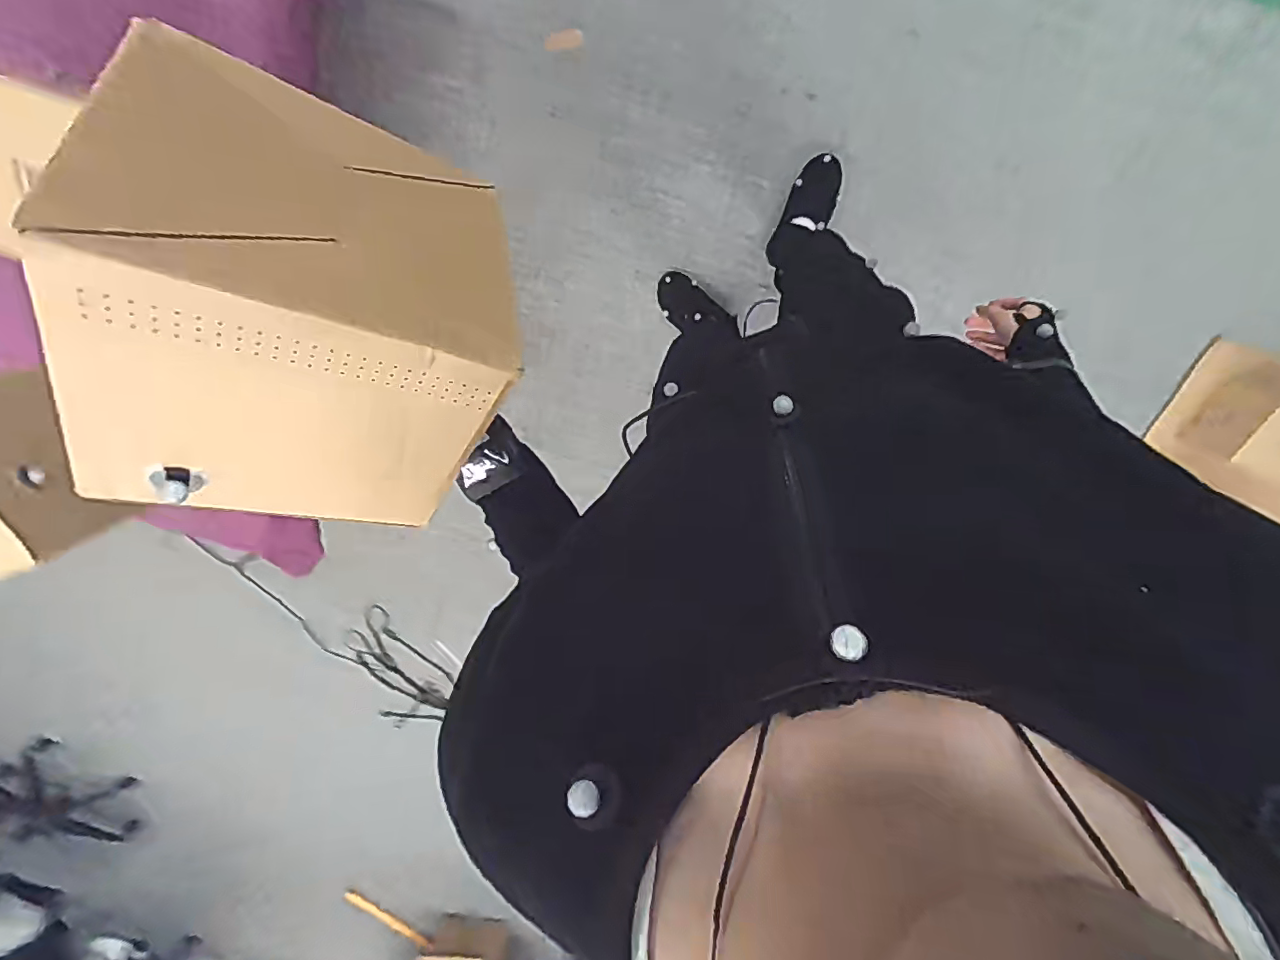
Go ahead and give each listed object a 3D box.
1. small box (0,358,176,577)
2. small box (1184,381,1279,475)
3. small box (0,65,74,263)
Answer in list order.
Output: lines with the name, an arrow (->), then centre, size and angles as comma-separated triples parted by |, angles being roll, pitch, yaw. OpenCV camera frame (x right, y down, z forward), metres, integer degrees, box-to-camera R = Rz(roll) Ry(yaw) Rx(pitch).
small box -> -0.656, -0.009, 0.562 | 0.168, 0.176, 0.179 | -18, 111, 12
small box -> 1.506, -0.126, 1.308 | 0.179, 0.176, 0.168 | 20, 116, -5
small box -> -0.580, -0.326, 0.594 | 0.179, 0.176, 0.168 | 17, 116, -3
